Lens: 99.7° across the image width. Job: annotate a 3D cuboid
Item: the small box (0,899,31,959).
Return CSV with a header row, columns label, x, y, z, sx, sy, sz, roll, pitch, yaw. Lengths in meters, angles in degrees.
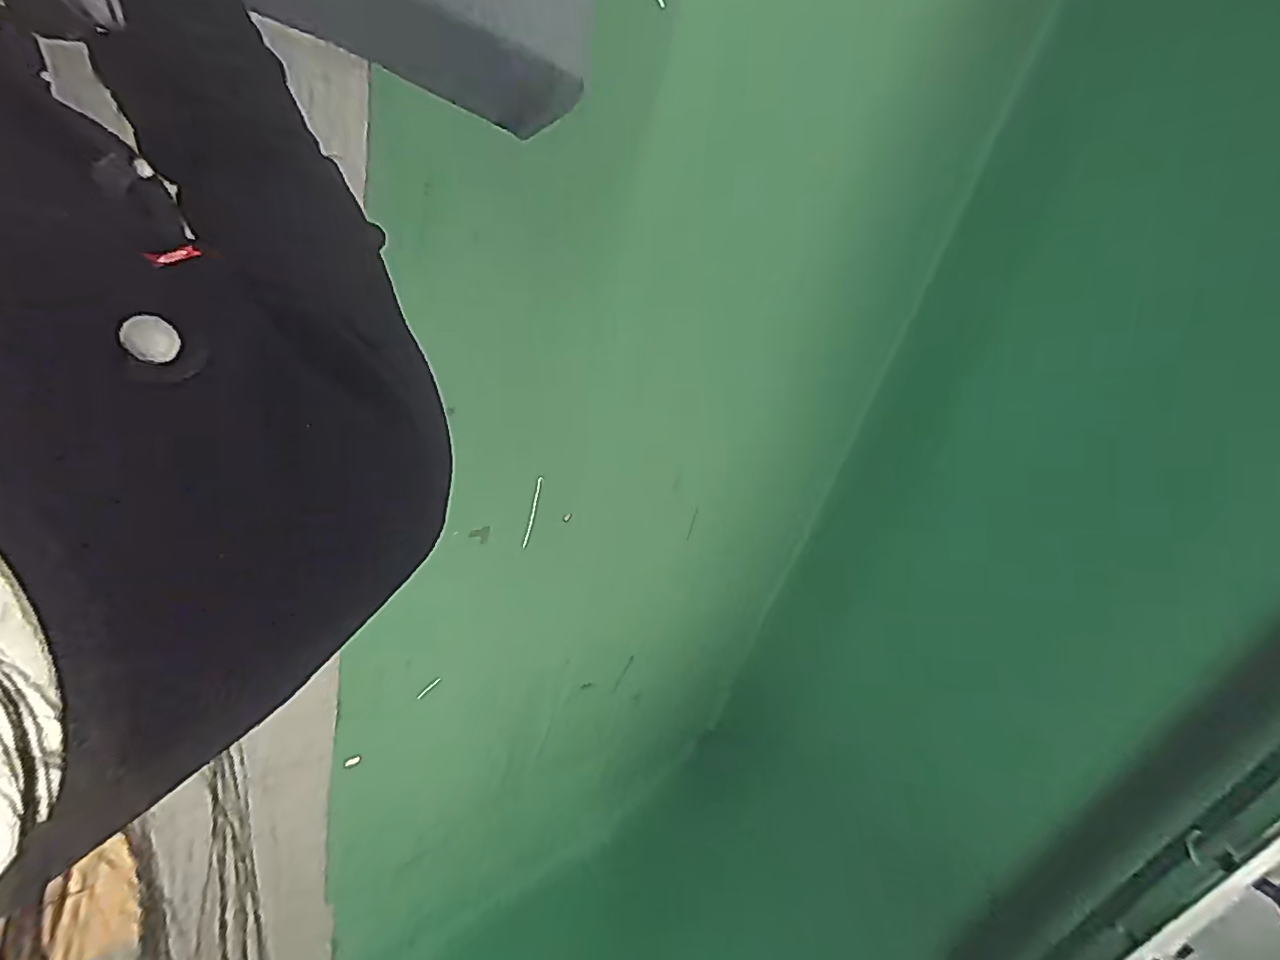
label,x,y,z,sx,sy,sz,roll,pitch,yaw
small box,-1.688,1.223,1.367,0.179,0.176,0.168,-13,128,-43
